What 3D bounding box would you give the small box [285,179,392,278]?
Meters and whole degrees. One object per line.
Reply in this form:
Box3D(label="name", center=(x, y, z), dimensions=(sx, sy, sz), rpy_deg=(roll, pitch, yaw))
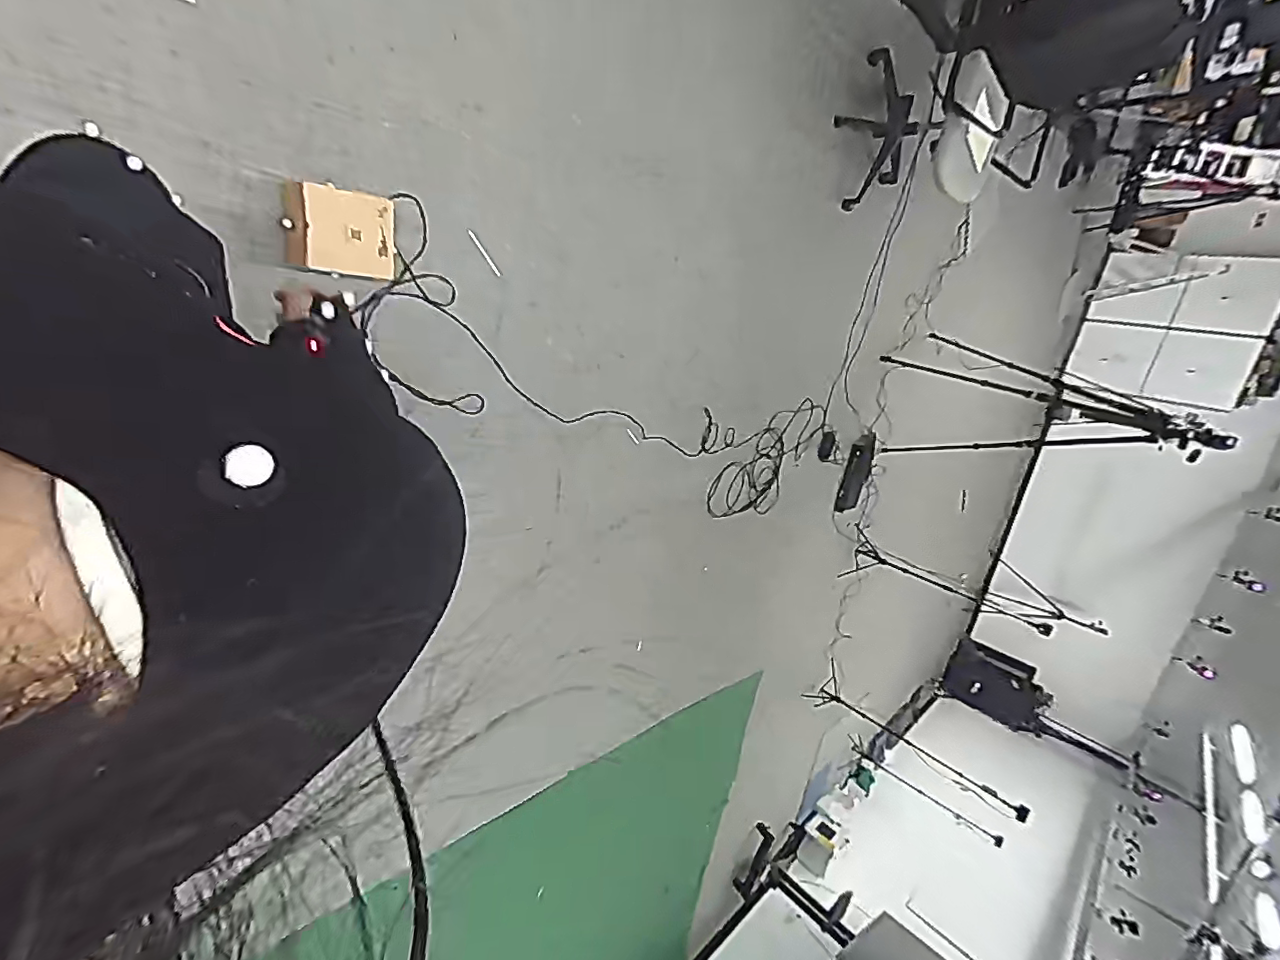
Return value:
Box3D(label="small box", center=(-0.666, -0.546, 1.191), dimensions=(0.179, 0.176, 0.168), rpy_deg=(-9, 115, -42))
